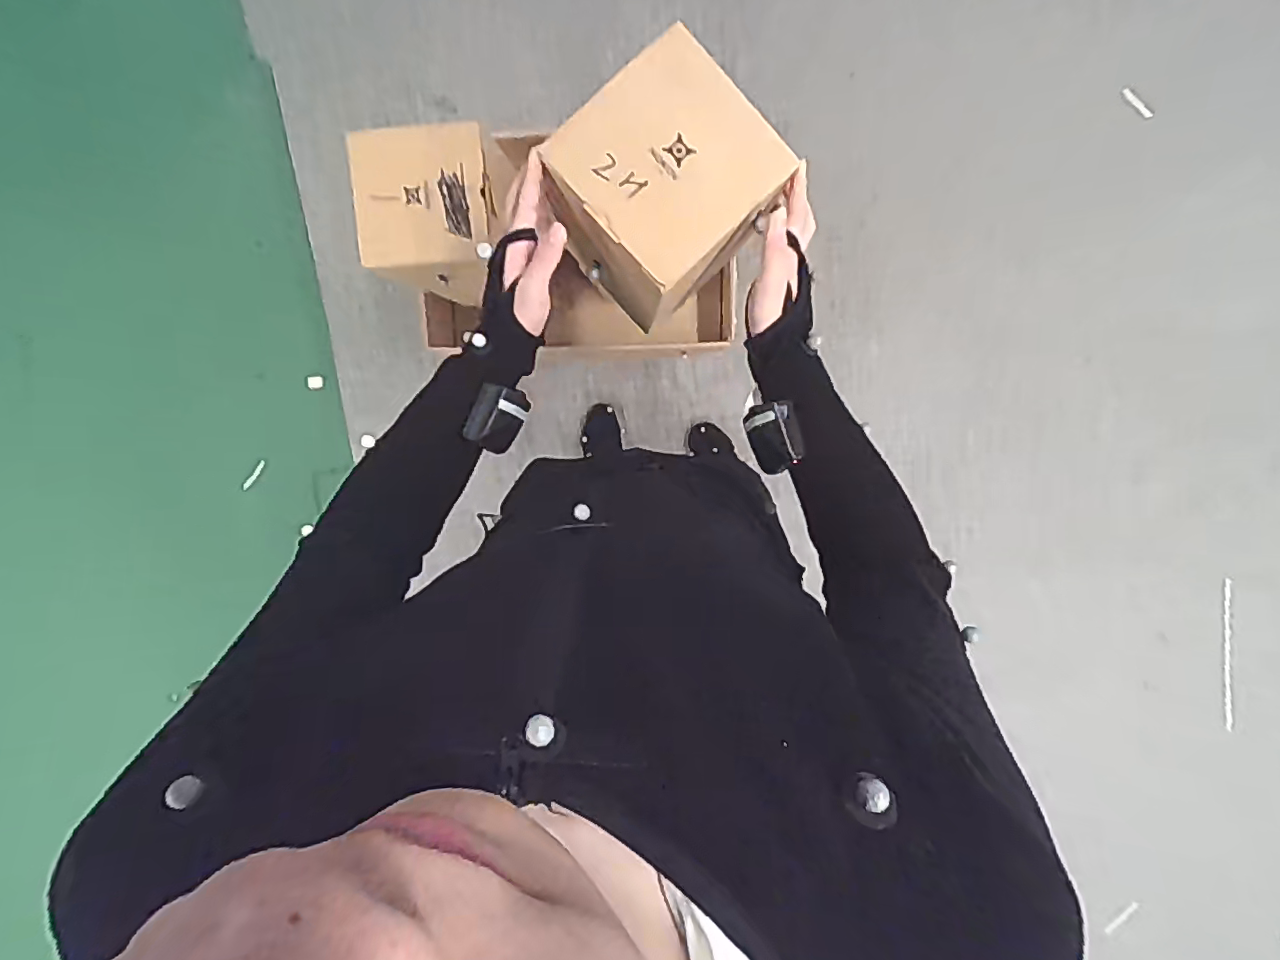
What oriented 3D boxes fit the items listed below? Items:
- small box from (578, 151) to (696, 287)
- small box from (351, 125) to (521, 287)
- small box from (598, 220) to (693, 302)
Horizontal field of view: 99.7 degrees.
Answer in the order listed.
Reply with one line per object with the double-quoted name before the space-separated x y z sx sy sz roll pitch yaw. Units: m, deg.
"small box" -0.002 -0.426 0.907 0.179 0.176 0.168 4 100 4
"small box" -0.276 -0.378 0.775 0.179 0.176 0.168 -1 99 6
"small box" 0.015 -0.453 1.067 0.168 0.176 0.179 5 100 4
